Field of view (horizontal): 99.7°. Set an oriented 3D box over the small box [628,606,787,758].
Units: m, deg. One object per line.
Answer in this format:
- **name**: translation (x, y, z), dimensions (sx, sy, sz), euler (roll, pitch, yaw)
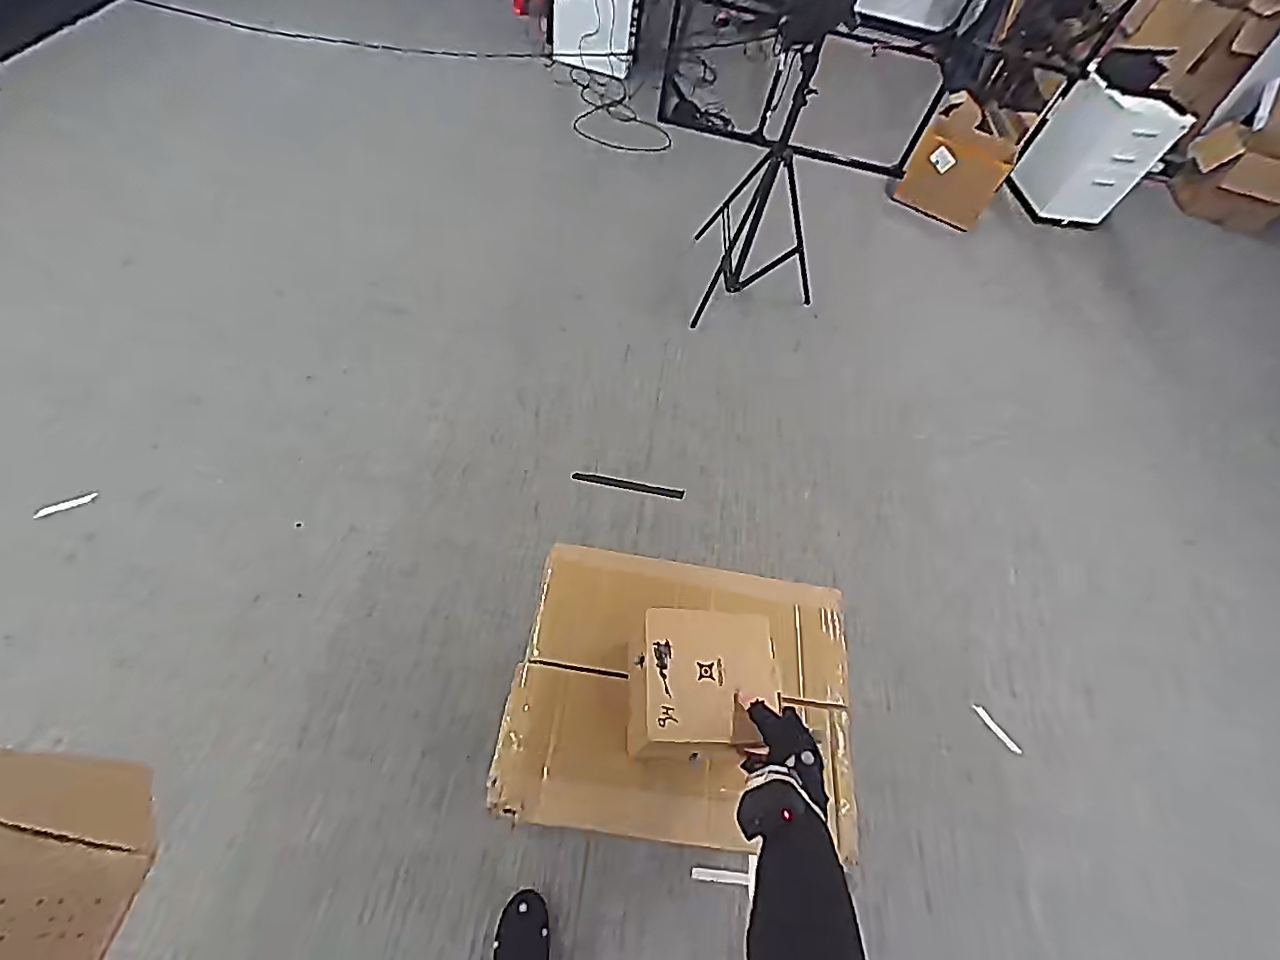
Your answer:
- **small box**: translation (0.083, 0.287, 0.756), dimensions (0.179, 0.176, 0.168), euler (5, 57, -7)
